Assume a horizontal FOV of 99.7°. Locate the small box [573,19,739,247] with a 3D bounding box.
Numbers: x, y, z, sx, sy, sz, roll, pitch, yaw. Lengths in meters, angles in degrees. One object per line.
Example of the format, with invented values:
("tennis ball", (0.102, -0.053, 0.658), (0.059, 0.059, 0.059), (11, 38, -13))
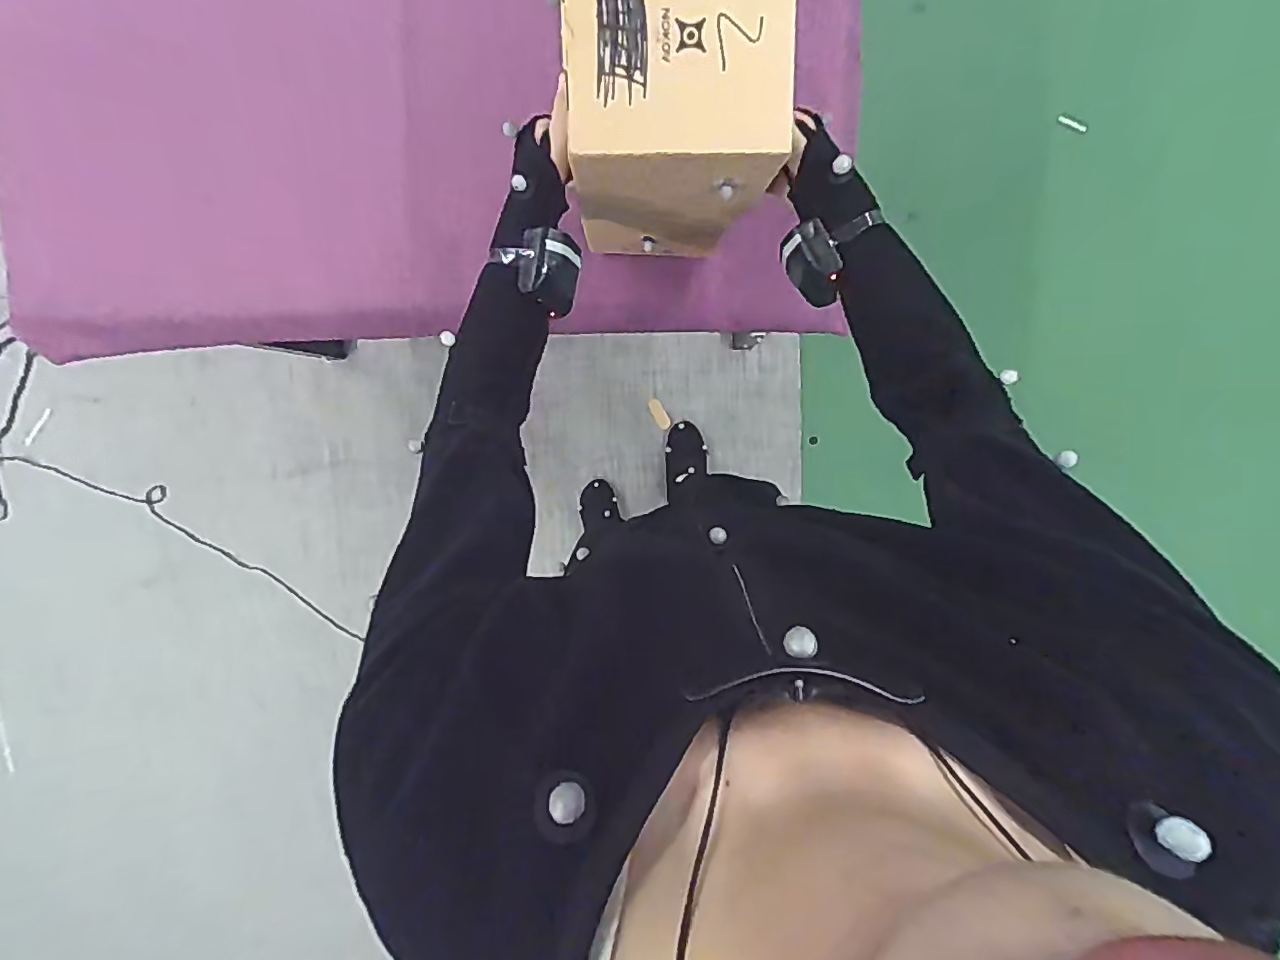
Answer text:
("small box", (0.014, -0.386, 0.636), (0.168, 0.176, 0.179), (2, 99, -2))
